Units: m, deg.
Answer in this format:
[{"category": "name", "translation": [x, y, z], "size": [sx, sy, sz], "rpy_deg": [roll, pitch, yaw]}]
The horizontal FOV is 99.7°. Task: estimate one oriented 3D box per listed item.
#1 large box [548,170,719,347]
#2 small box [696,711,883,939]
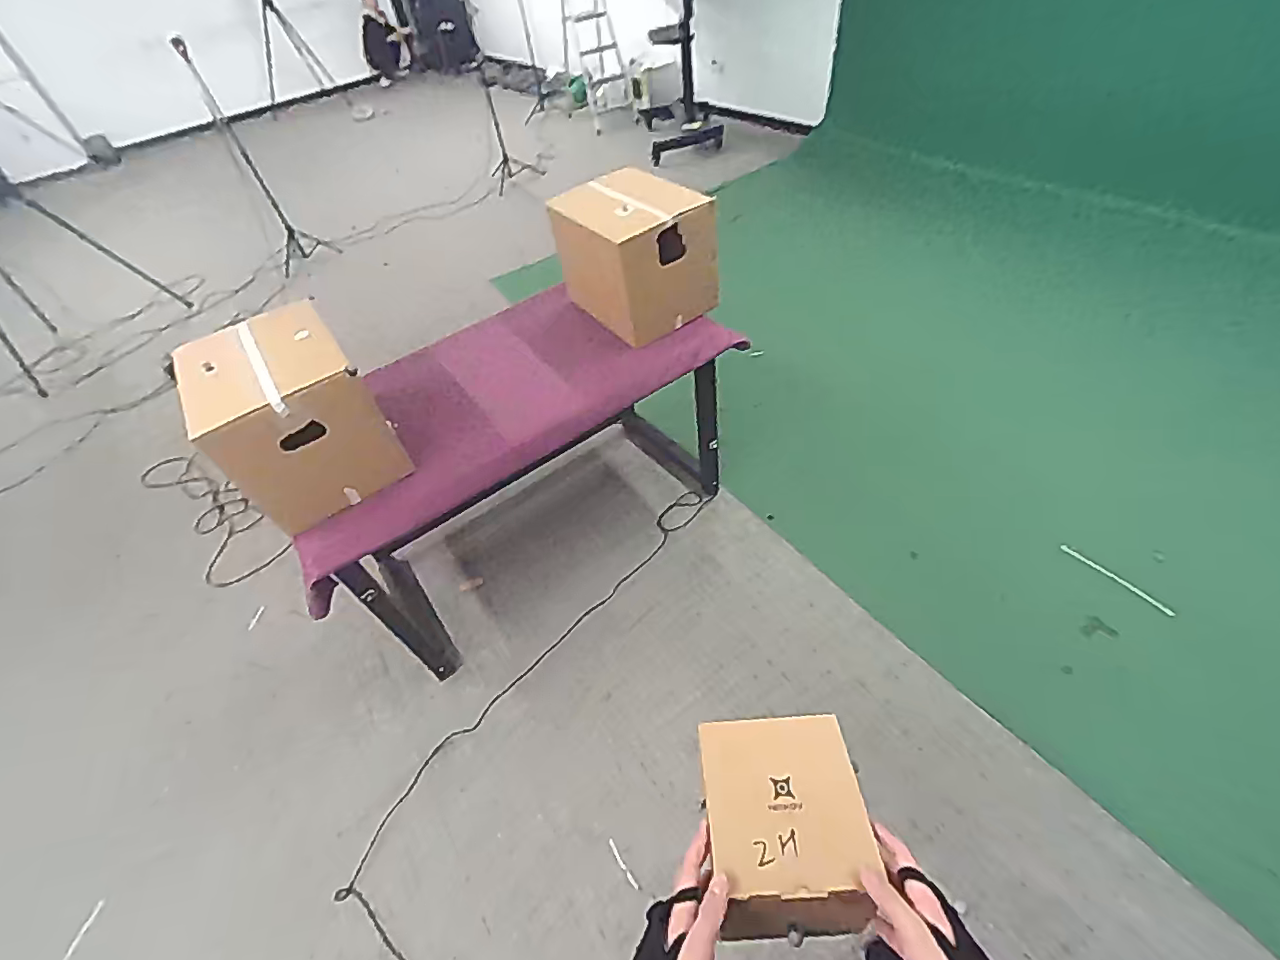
[{"category": "large box", "translation": [-0.013, -0.652, 1.579], "size": [0.320, 0.320, 0.408], "rpy_deg": [-32, 52, -17]}, {"category": "small box", "translation": [0.154, 0.396, 0.626], "size": [0.168, 0.176, 0.179], "rpy_deg": [-5, 38, 2]}]
